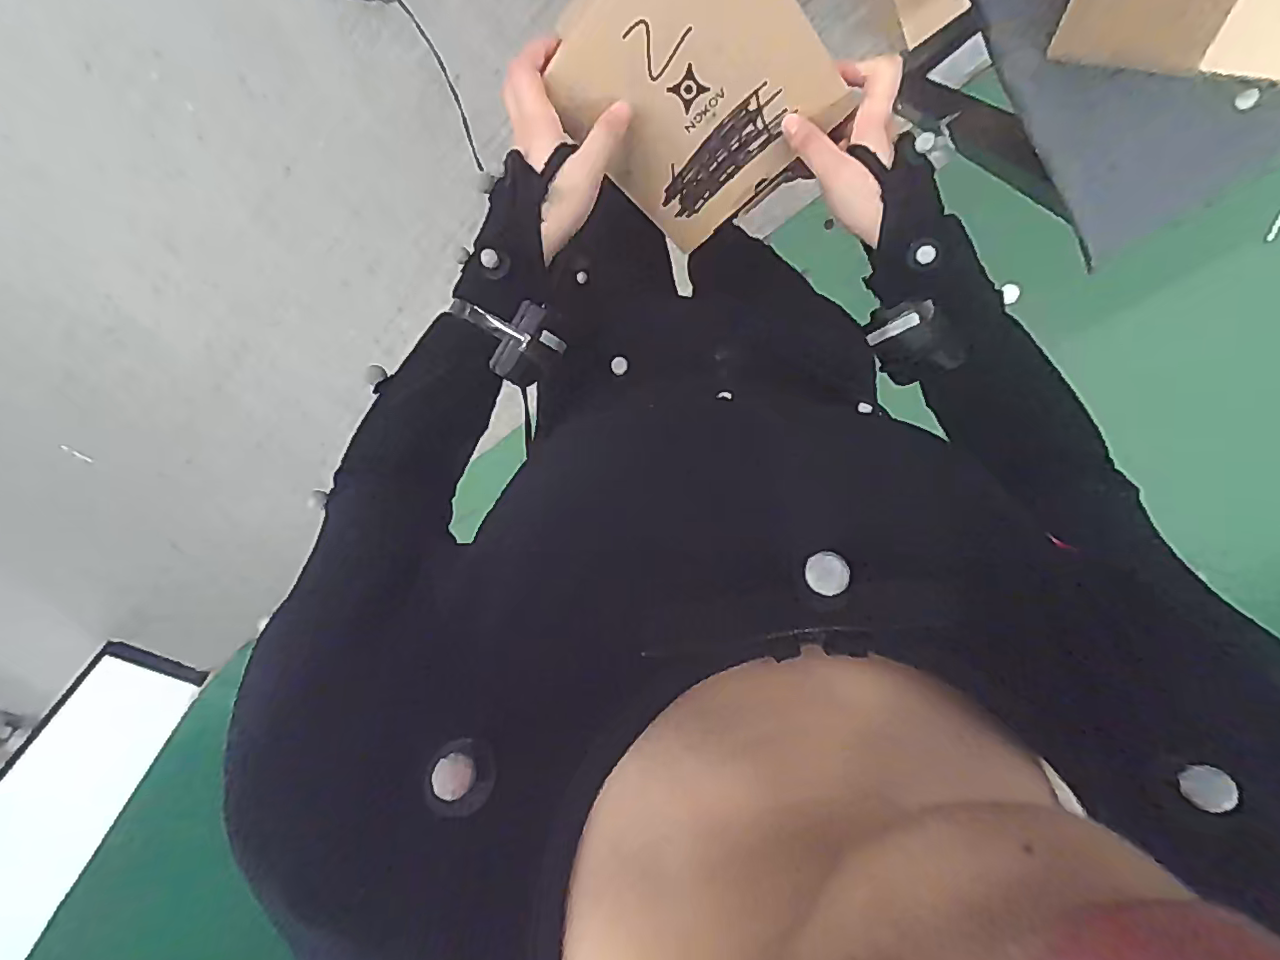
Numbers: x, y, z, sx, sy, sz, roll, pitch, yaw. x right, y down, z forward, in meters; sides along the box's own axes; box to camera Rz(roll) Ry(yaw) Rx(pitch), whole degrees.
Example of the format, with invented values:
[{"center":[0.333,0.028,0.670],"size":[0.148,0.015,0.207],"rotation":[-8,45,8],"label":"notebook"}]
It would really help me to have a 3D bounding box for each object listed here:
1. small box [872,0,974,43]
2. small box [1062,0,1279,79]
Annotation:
[{"center":[0.458,-0.844,0.852],"size":[0.168,0.176,0.179],"rotation":[-25,128,26],"label":"small box"},{"center":[0.412,-0.345,0.318],"size":[0.179,0.176,0.168],"rotation":[6,131,-2],"label":"small box"}]
